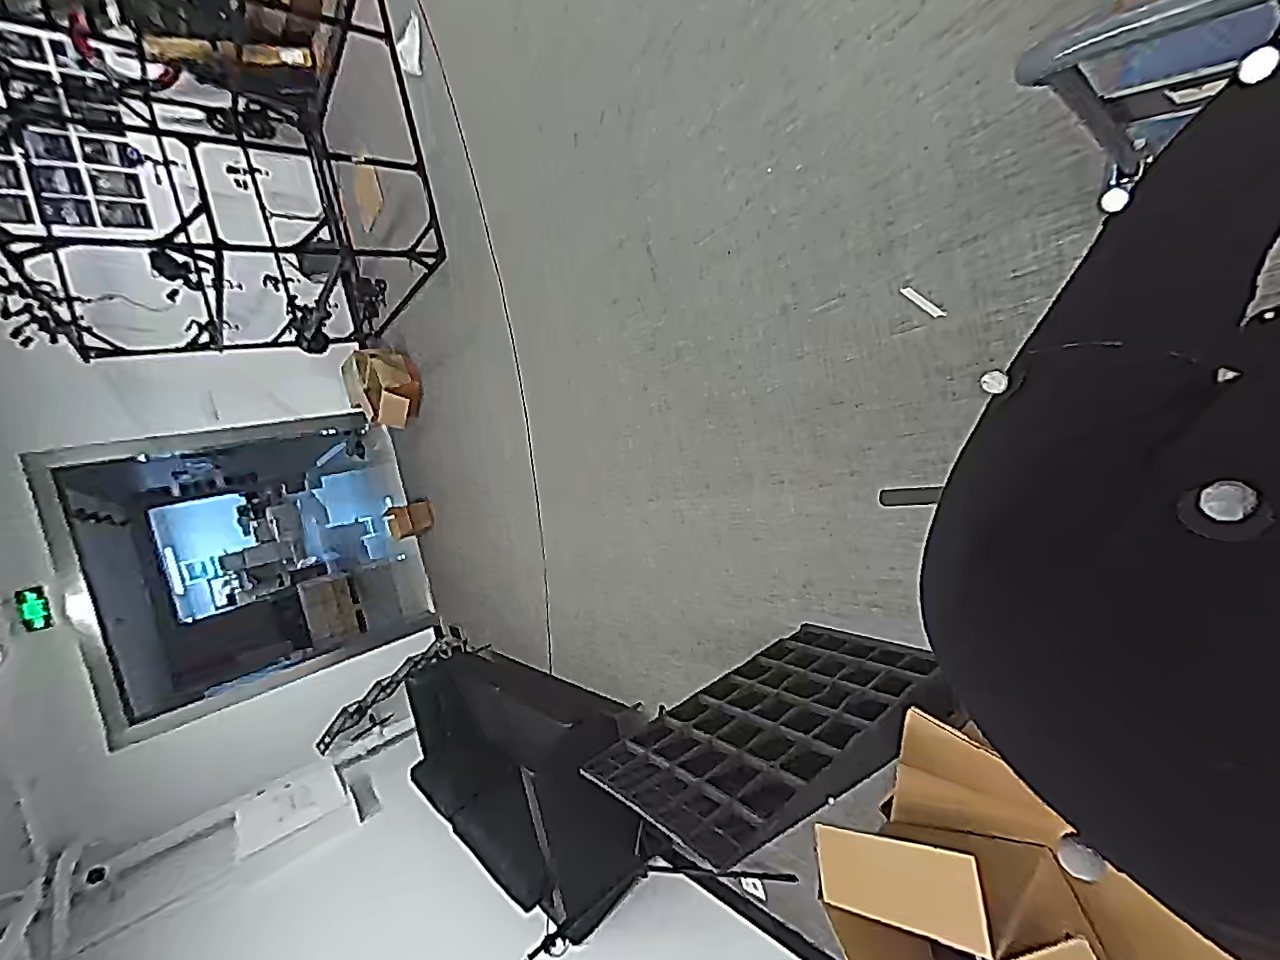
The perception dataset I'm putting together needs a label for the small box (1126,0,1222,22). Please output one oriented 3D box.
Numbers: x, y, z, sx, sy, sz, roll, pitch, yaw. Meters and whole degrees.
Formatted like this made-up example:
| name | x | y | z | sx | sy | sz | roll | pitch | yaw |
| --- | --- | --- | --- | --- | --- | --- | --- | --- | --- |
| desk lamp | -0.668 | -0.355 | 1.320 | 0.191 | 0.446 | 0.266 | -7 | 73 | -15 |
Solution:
| name | x | y | z | sx | sy | sz | roll | pitch | yaw |
| --- | --- | --- | --- | --- | --- | --- | --- | --- | --- |
| small box | 0.814 | -0.794 | 0.762 | 0.179 | 0.176 | 0.168 | 17 | 115 | 45 |
